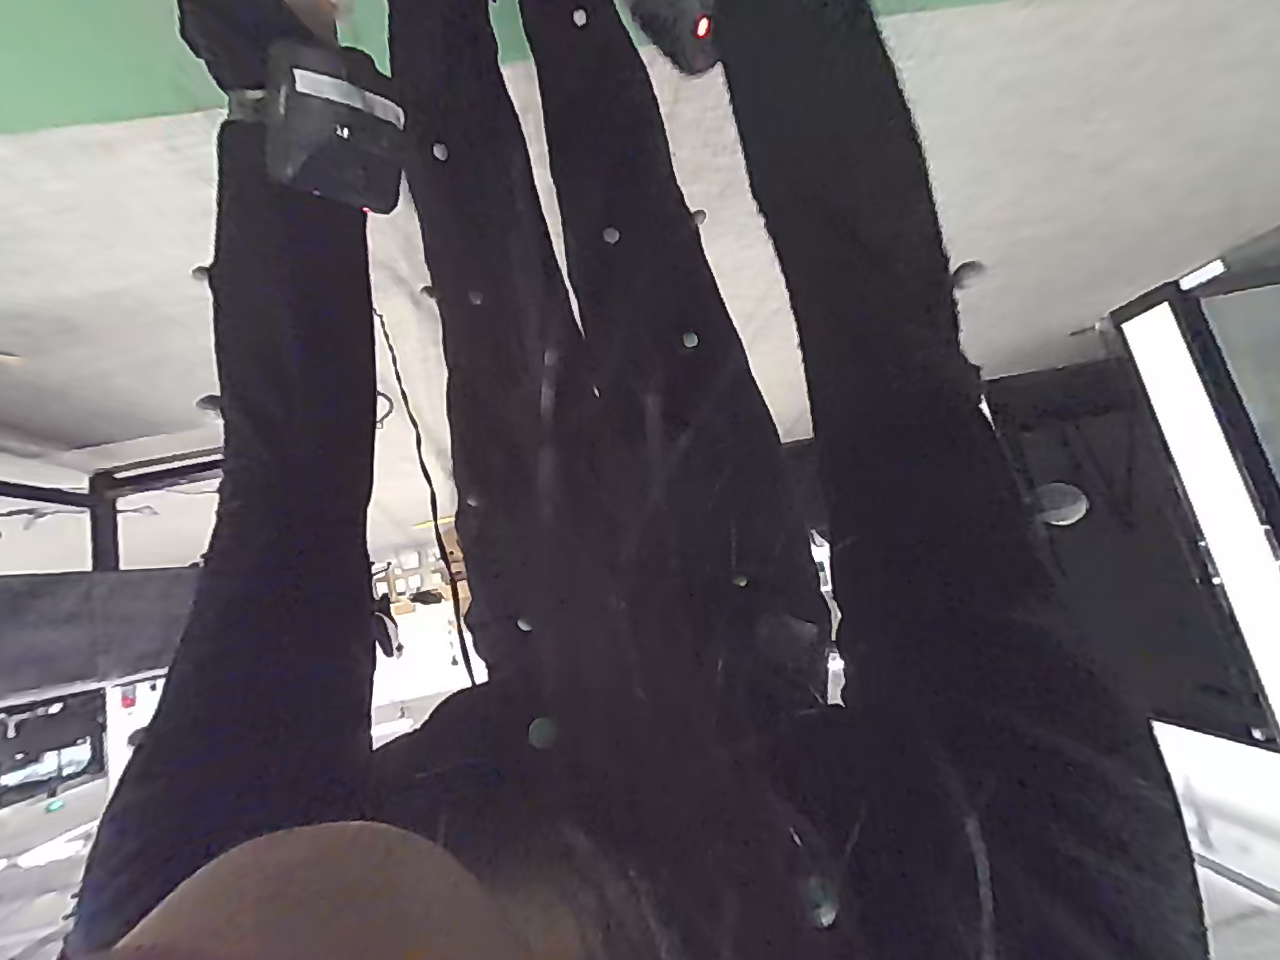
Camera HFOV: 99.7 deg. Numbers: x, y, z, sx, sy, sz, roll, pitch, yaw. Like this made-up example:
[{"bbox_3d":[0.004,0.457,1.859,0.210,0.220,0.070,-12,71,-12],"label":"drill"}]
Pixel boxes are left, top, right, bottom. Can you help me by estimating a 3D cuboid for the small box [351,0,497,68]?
[{"bbox_3d":[-0.214,-0.569,0.523,0.179,0.176,0.168,16,166,-31],"label":"small box"}]
